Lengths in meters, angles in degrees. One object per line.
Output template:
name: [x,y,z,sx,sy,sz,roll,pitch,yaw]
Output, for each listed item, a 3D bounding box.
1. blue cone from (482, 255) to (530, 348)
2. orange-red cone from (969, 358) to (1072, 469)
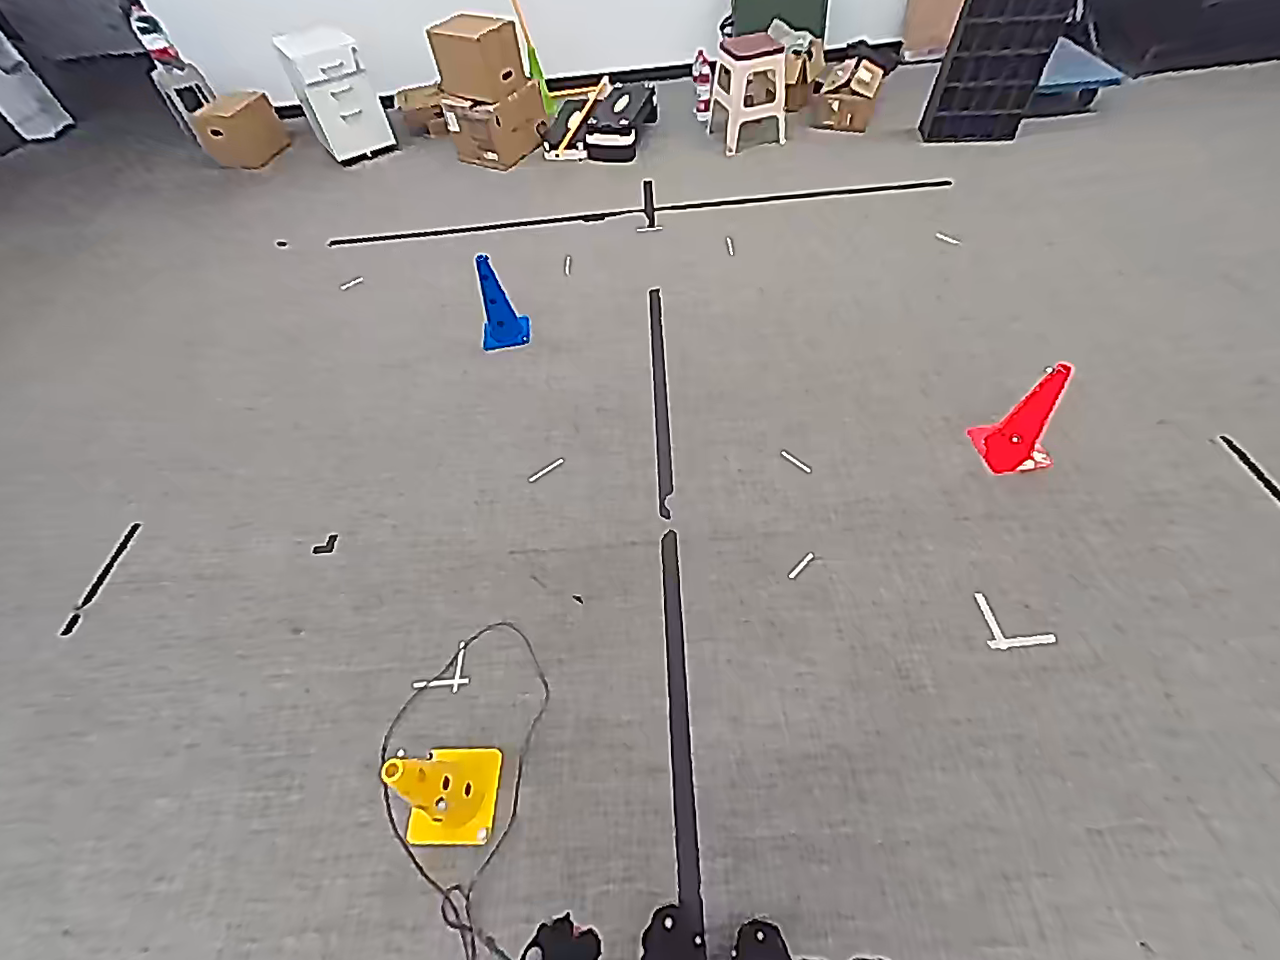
blue cone: [-0.590,-0.745,2.233,0.192,0.380,0.193,-8,53,-1]
orange-red cone: [1.207,-0.224,1.656,0.198,0.360,0.199,-7,51,0]
